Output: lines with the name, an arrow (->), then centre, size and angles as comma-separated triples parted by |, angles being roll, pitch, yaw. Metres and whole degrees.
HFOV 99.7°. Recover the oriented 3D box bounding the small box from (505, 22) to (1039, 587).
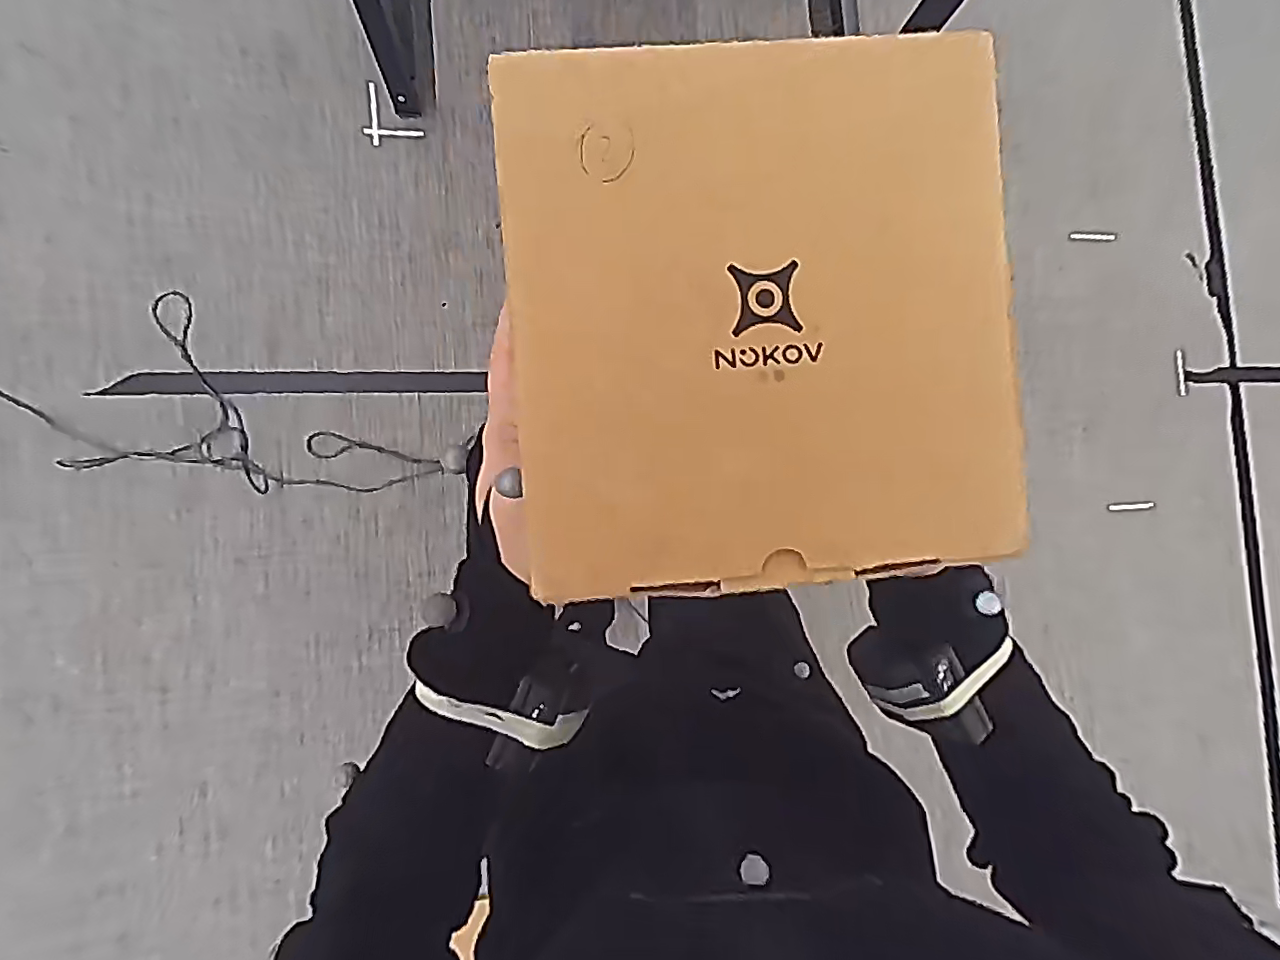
small box -> 0.038, -0.058, 0.252 | 0.168, 0.176, 0.179 | -5, 91, -3
